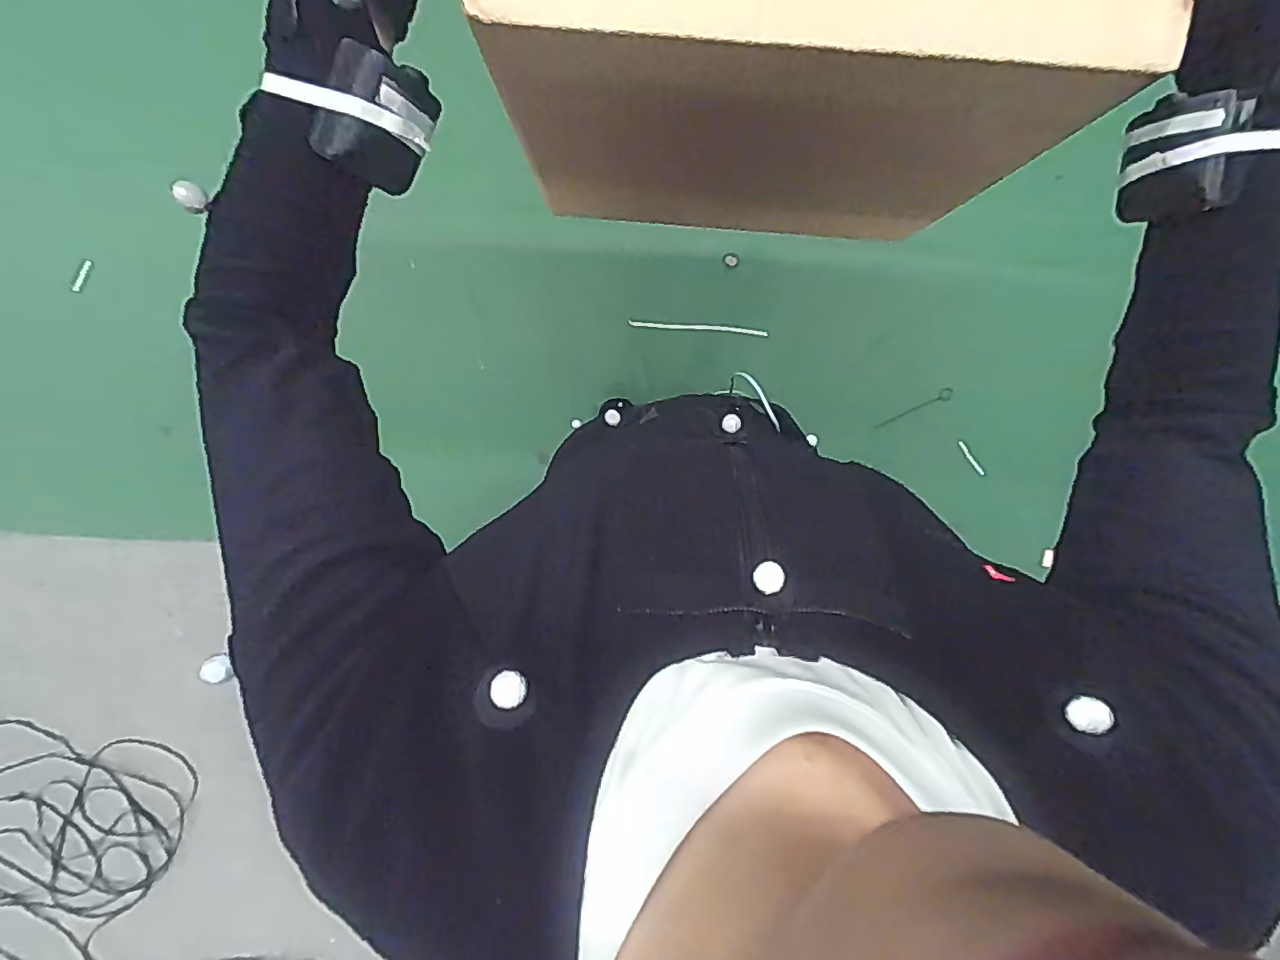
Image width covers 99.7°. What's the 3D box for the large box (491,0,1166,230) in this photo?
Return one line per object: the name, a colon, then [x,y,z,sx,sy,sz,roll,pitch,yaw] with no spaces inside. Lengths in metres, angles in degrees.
large box: [0.112,-0.423,0.444,0.408,0.320,0.320,3,98,-2]
